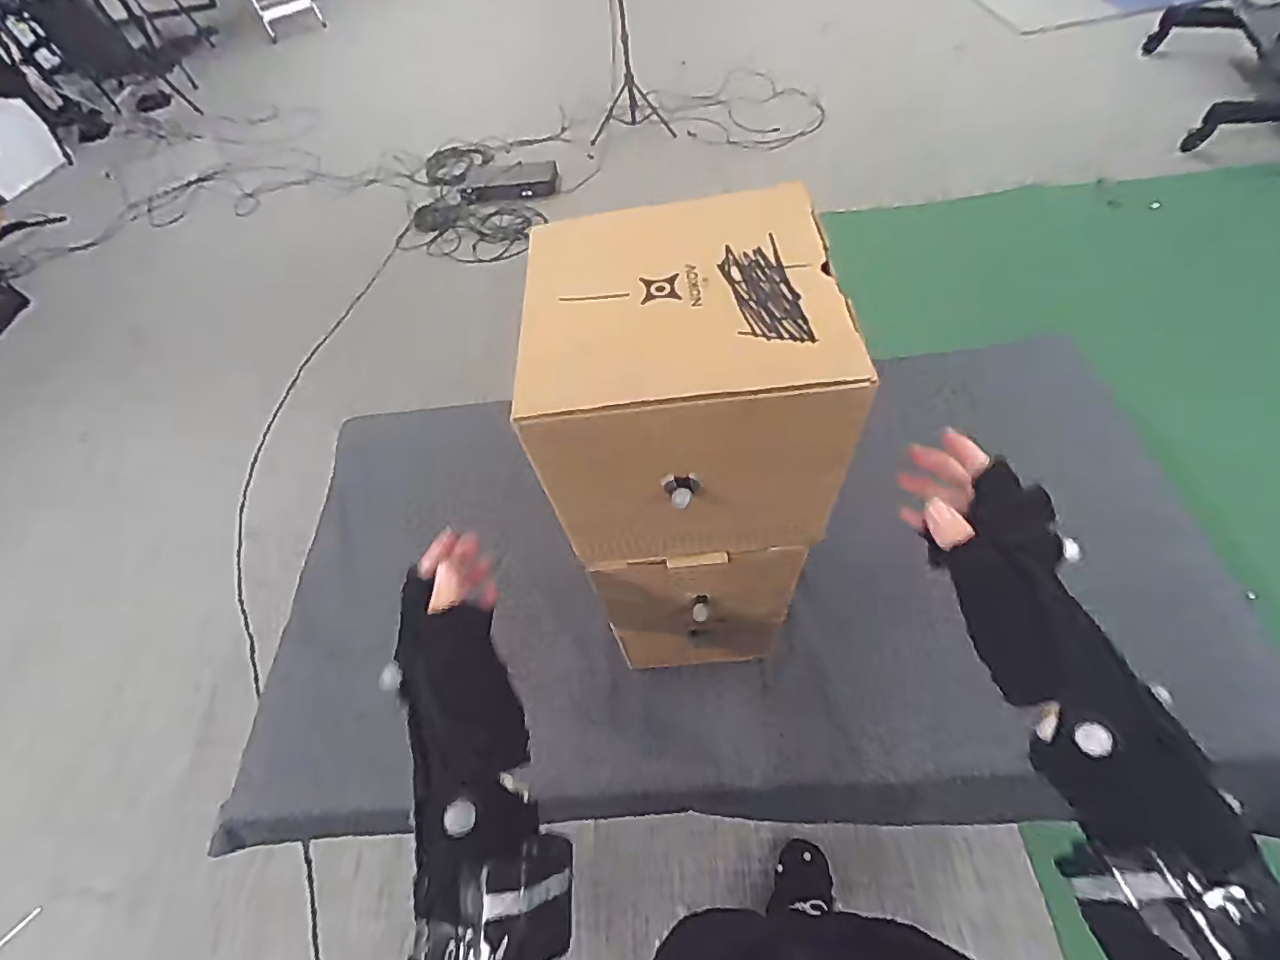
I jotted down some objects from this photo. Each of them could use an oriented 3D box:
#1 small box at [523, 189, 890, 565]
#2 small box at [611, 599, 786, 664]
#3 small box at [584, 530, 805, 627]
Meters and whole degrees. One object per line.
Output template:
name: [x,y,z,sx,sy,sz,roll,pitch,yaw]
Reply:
small box: [0.030,-0.057,0.360,0.179,0.176,0.168,-8,57,2]
small box: [0.062,0.112,0.640,0.179,0.176,0.168,-6,58,3]
small box: [0.044,0.029,0.501,0.168,0.176,0.179,-7,58,3]
